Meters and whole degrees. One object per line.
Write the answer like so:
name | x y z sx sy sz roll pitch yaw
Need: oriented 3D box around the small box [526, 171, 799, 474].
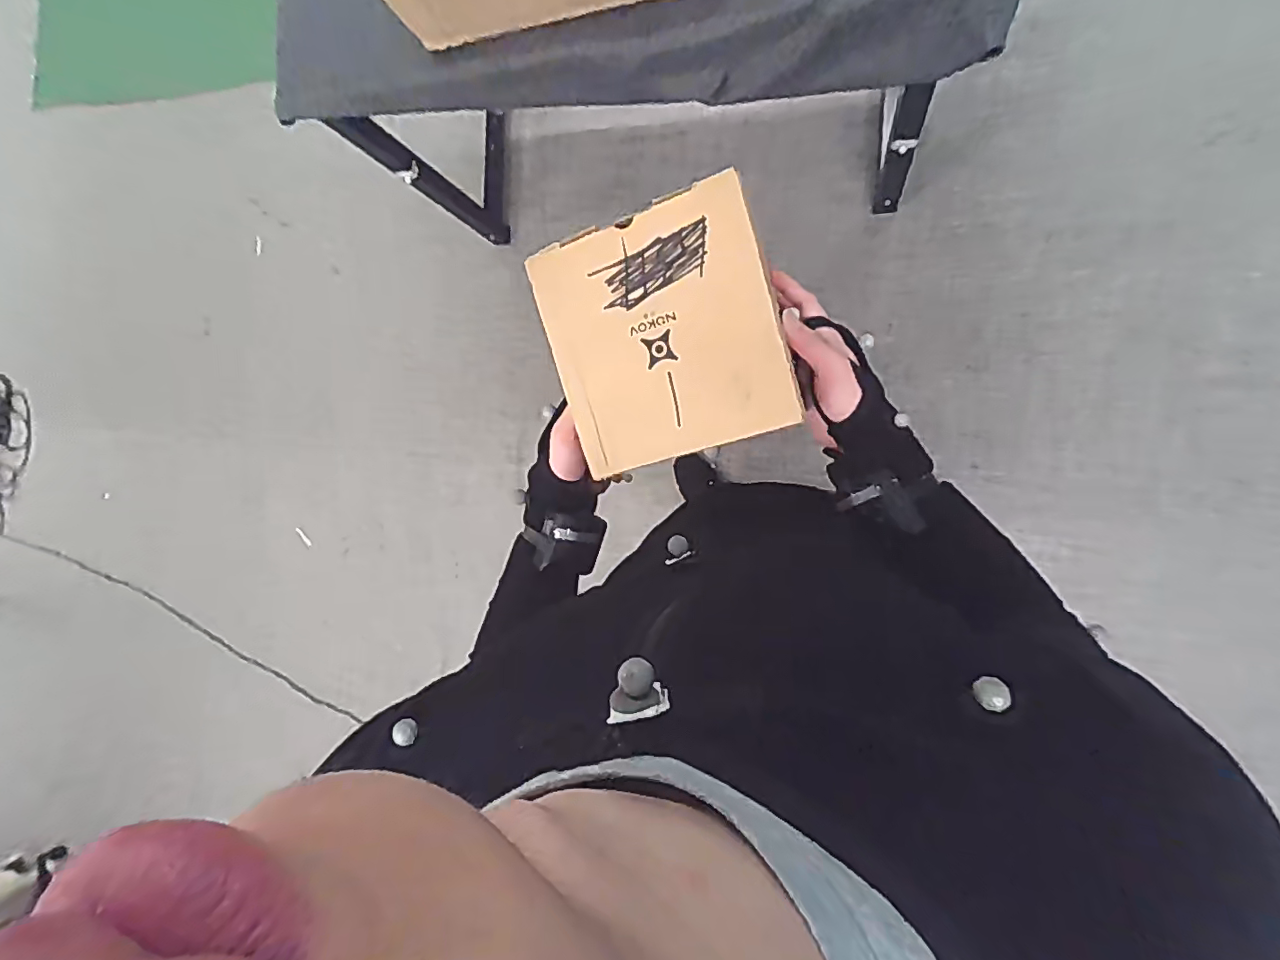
small box | 0.033 -0.117 0.462 0.168 0.176 0.179 -14 96 19
